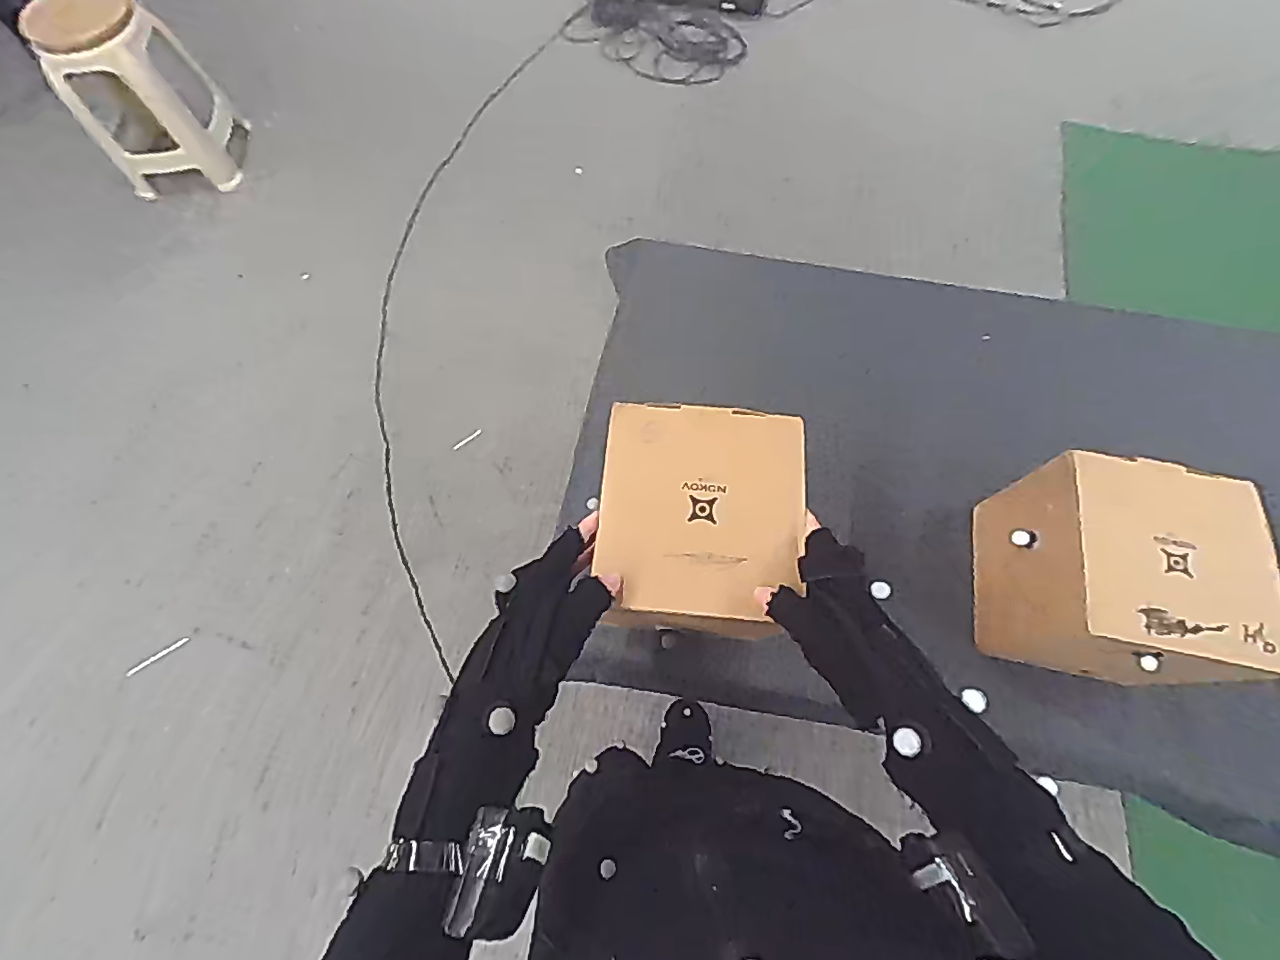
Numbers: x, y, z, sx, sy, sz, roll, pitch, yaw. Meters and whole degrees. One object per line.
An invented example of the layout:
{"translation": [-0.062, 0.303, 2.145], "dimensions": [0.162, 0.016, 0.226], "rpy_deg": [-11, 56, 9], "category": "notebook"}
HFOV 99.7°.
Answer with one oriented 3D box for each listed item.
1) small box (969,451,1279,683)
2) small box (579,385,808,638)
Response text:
{"translation": [0.461, 0.097, 0.550], "dimensions": [0.168, 0.176, 0.179], "rpy_deg": [11, 67, 5], "category": "small box"}
{"translation": [0.046, 0.039, 0.492], "dimensions": [0.168, 0.176, 0.179], "rpy_deg": [7, 70, 3], "category": "small box"}
